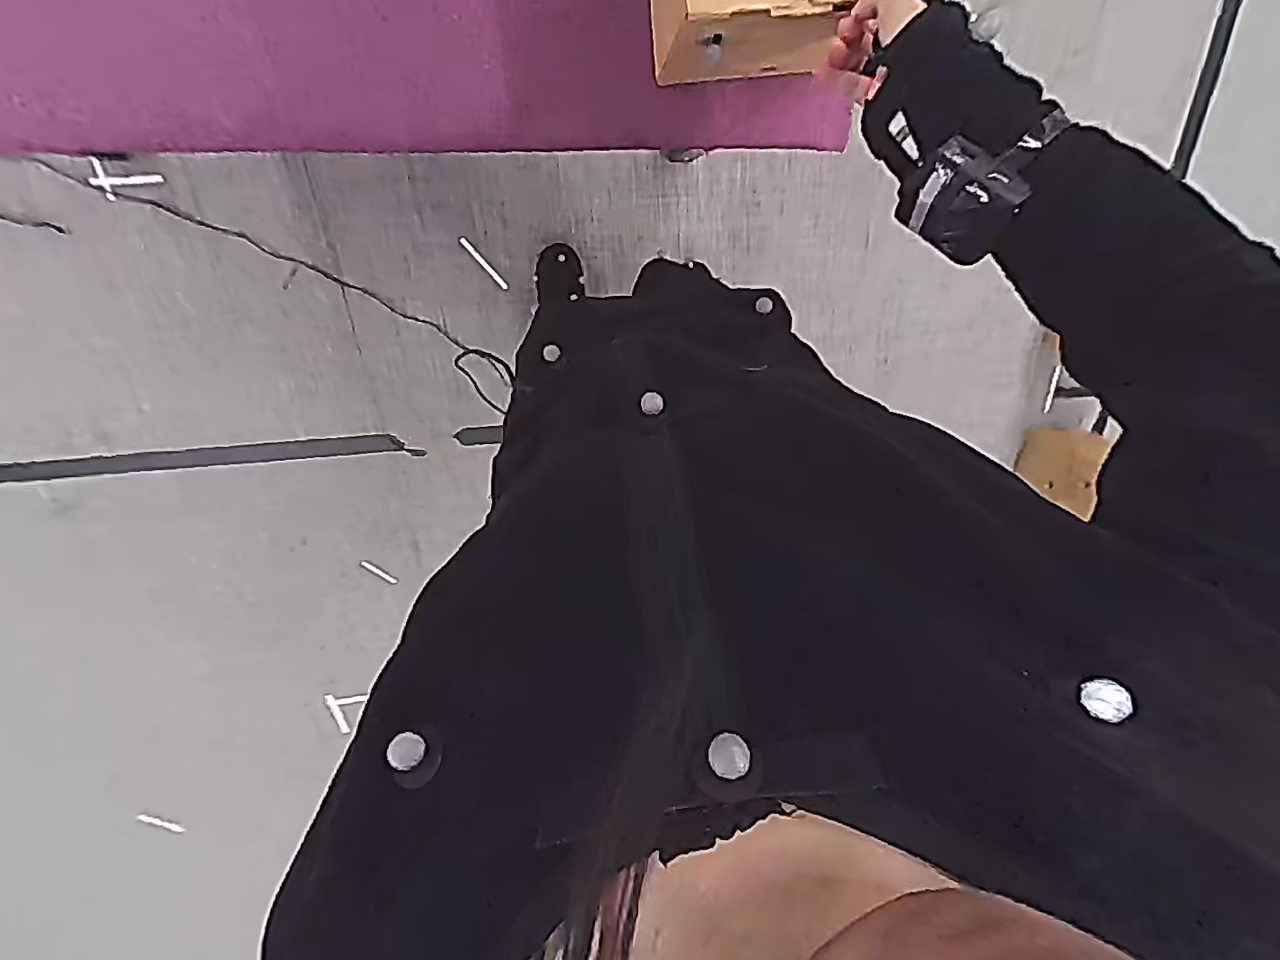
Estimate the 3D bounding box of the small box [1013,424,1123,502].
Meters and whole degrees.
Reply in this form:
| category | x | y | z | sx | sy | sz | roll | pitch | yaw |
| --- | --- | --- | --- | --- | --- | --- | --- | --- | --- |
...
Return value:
| category | x | y | z | sx | sy | sz | roll | pitch | yaw |
| --- | --- | --- | --- | --- | --- | --- | --- | --- | --- |
| small box | 1.246 | -0.053 | 1.586 | 0.168 | 0.176 | 0.179 | -2 | 117 | -8 |

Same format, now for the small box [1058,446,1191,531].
| category | x | y | z | sx | sy | sz | roll | pitch | yaw |
| --- | --- | --- | --- | --- | --- | --- | --- | --- | --- |
| small box | 1.280 | 0.017 | 1.443 | 0.179 | 0.176 | 0.168 | -6 | 118 | -5 |
